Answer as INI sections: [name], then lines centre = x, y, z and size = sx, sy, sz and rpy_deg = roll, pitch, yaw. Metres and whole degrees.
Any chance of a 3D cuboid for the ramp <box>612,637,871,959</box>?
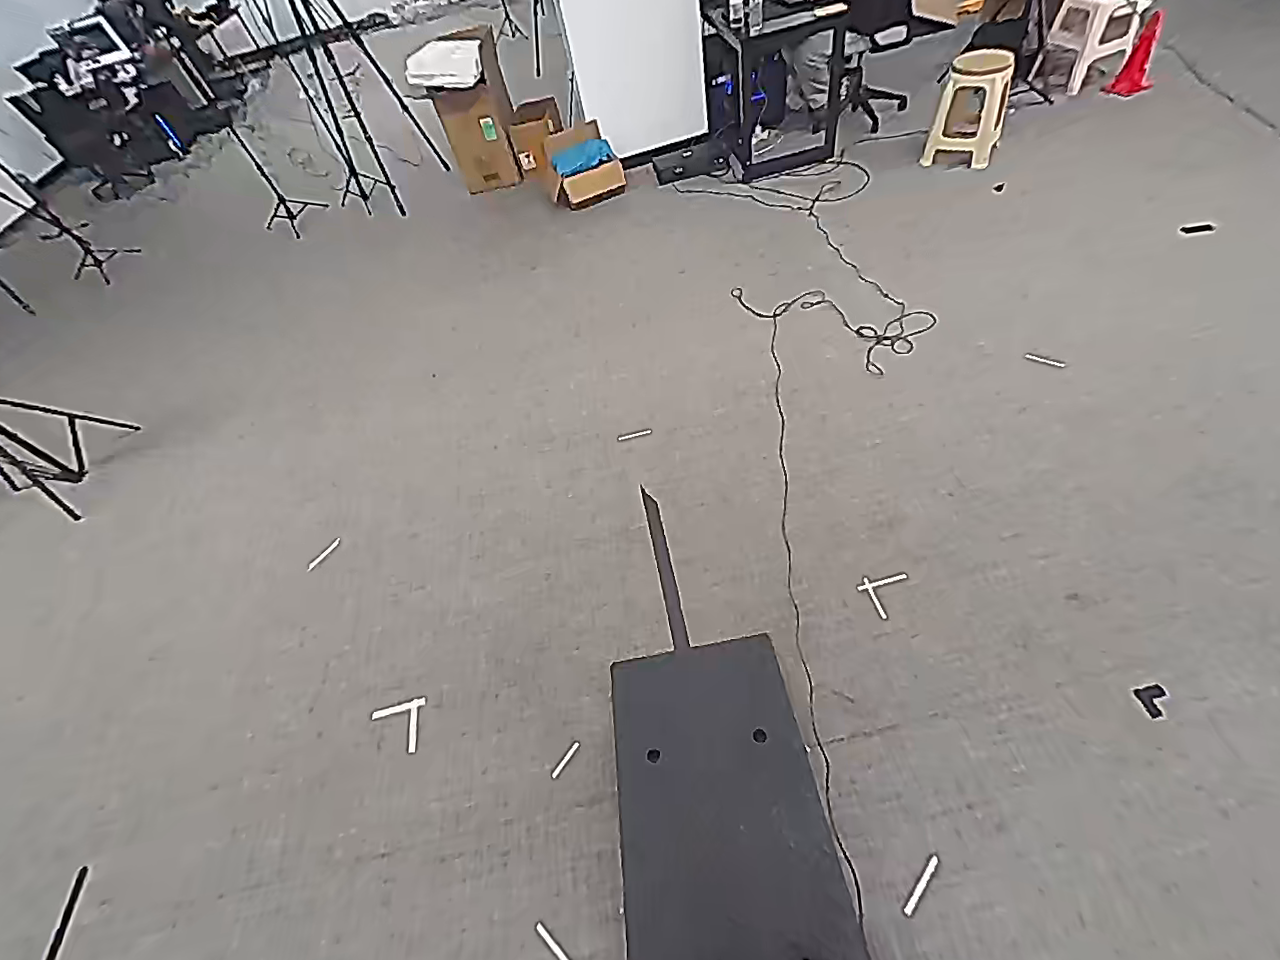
[ramp]
centre = 0.194, 0.843, 1.260
size = 0.509, 0.206, 0.991
rpy_deg = -14, 50, 3
